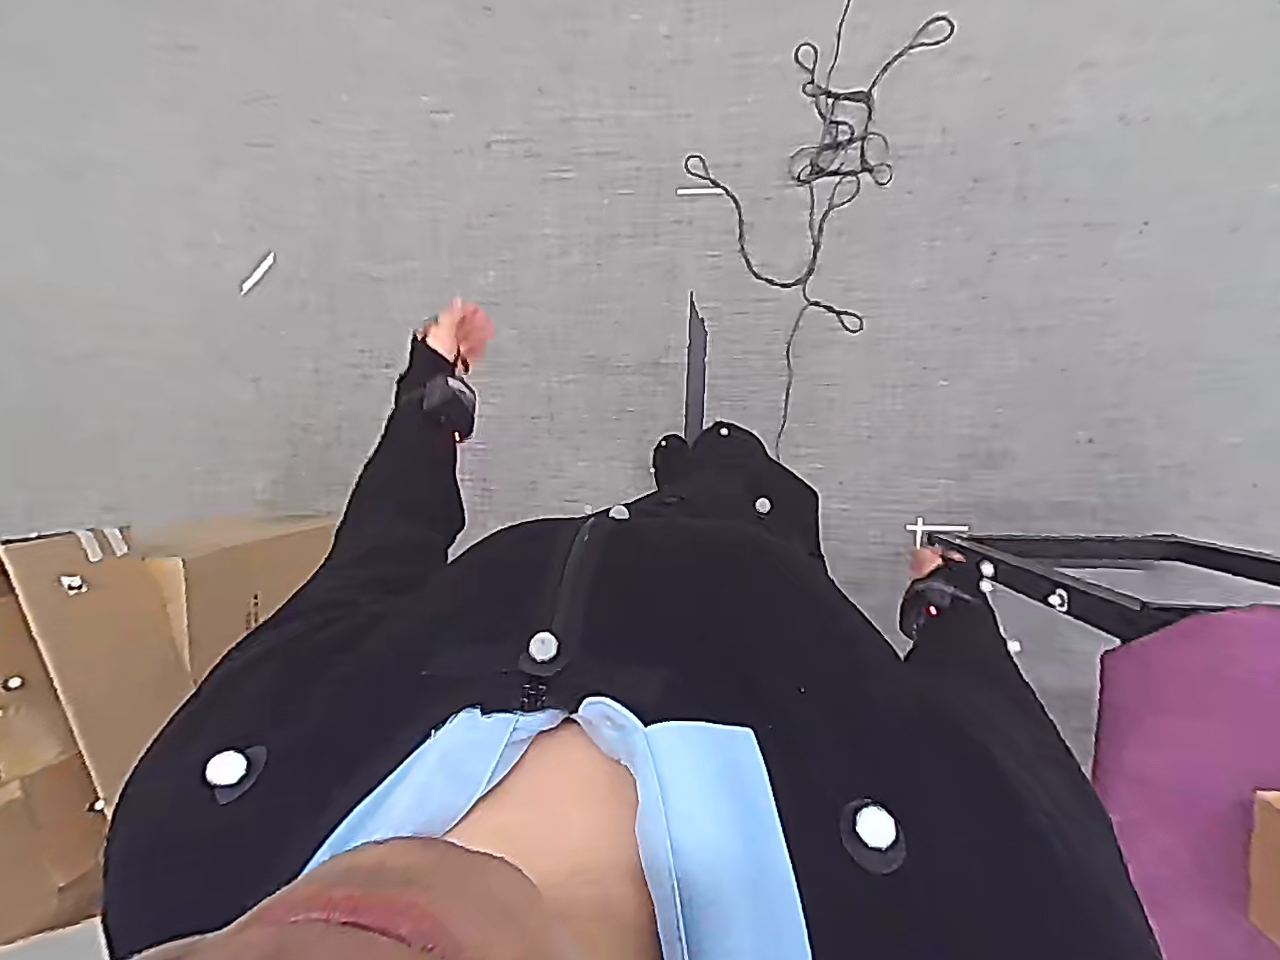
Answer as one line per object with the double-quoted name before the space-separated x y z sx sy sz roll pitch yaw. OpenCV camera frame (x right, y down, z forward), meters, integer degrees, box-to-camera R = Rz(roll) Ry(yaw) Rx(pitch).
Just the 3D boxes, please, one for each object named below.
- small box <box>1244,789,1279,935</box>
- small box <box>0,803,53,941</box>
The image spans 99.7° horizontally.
"small box" 0.852 0.480 0.609 0.168 0.176 0.179 -2 94 7
"small box" -0.981 0.574 0.735 0.168 0.176 0.179 -15 92 6
